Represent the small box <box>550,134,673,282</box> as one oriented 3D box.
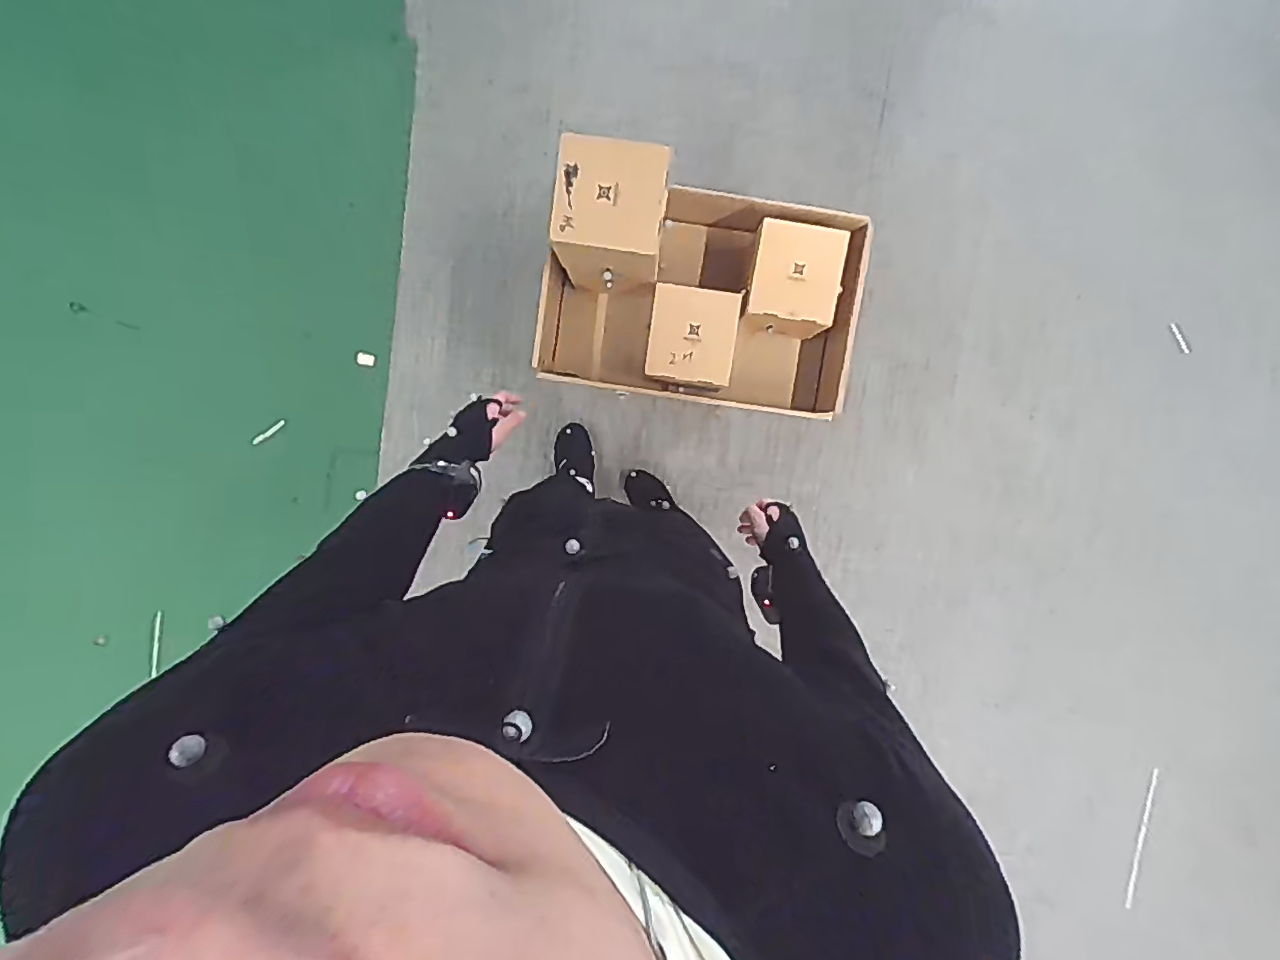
[{"bbox_3d":[-0.046,-0.451,0.926,0.179,0.176,0.168,9,95,-1],"label":"small box"}]
